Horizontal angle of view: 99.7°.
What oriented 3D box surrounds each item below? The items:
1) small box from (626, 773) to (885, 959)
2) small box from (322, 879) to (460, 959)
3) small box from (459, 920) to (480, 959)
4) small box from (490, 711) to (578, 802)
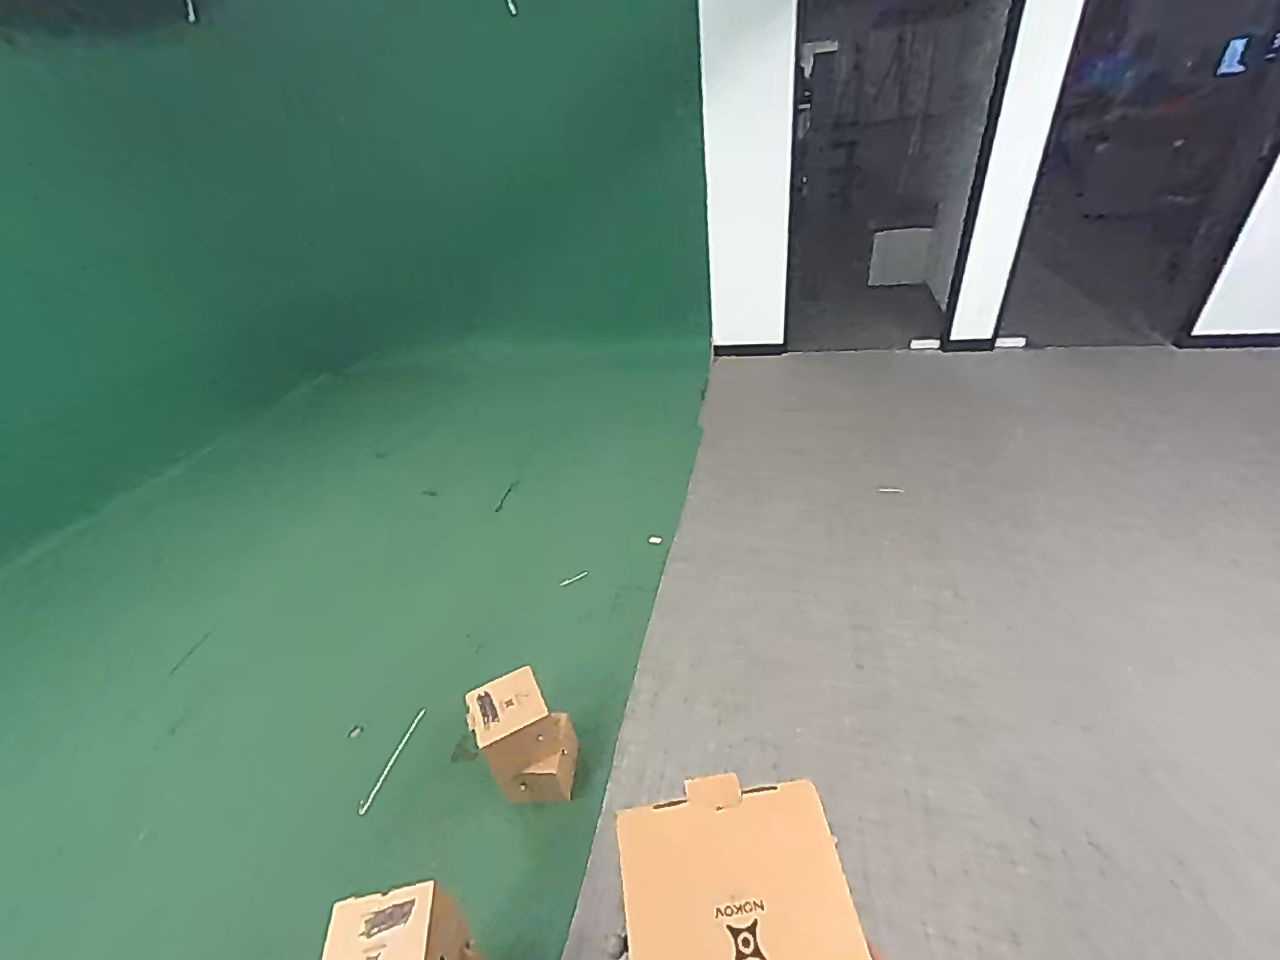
[{"bbox_3d":[0.082,0.364,0.435,0.168,0.176,0.179,-6,46,-6],"label":"small box"},{"bbox_3d":[-0.400,0.793,0.875,0.168,0.176,0.179,-10,37,-5],"label":"small box"},{"bbox_3d":[-0.380,0.920,0.978,0.168,0.176,0.179,-29,40,-29],"label":"small box"},{"bbox_3d":[-0.281,0.752,1.471,0.179,0.176,0.168,-3,36,8],"label":"small box"}]
